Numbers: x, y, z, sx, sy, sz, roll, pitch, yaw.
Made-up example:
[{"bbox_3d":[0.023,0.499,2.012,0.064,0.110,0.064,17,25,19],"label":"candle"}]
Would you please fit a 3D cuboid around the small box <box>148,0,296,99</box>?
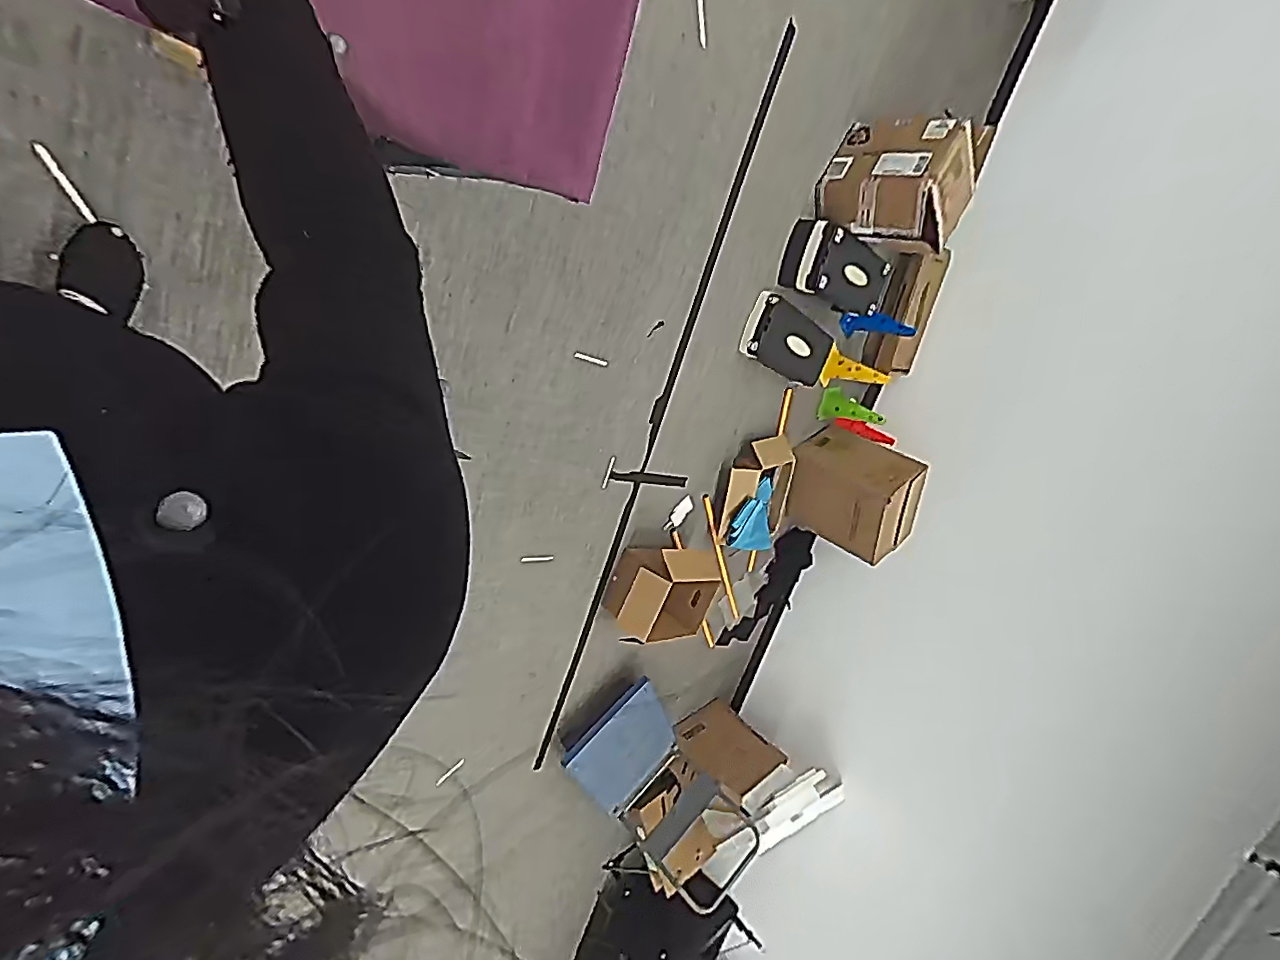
[{"bbox_3d":[-0.737,-0.807,0.949,0.168,0.176,0.179,9,105,-49],"label":"small box"}]
